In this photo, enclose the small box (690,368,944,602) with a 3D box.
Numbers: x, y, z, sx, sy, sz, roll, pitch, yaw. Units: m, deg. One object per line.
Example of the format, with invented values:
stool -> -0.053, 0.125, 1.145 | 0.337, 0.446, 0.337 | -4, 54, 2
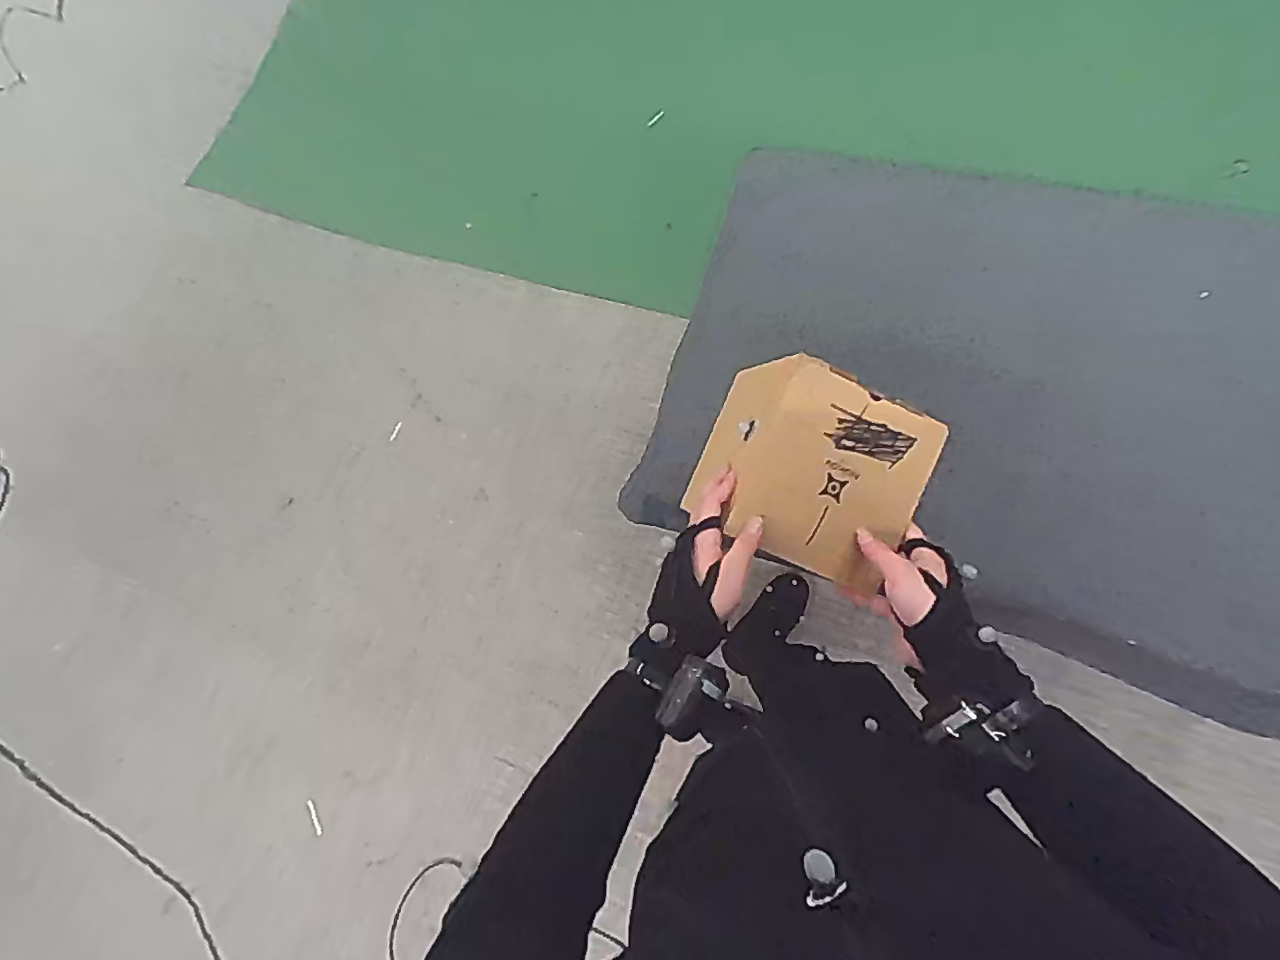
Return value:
small box -> 0.171, 0.000, 0.580 | 0.168, 0.176, 0.179 | 24, 92, -11
